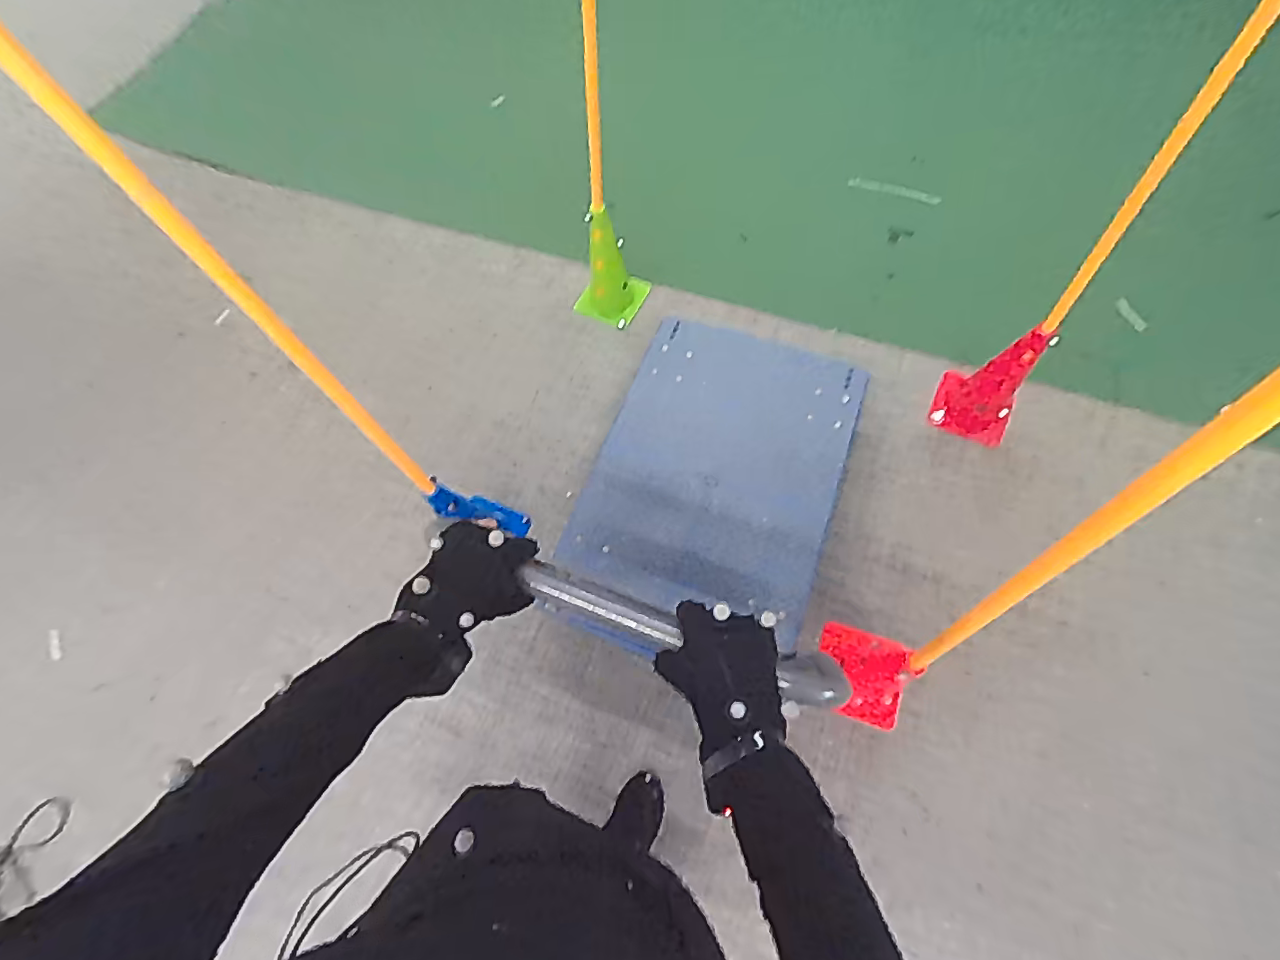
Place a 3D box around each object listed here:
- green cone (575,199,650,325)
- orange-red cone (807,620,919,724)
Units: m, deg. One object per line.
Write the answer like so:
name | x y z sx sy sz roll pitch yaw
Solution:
green cone | -0.103 -0.678 1.629 0.202 0.368 0.200 24 70 14
orange-red cone | 0.502 0.389 1.142 0.199 0.360 0.198 19 69 13
